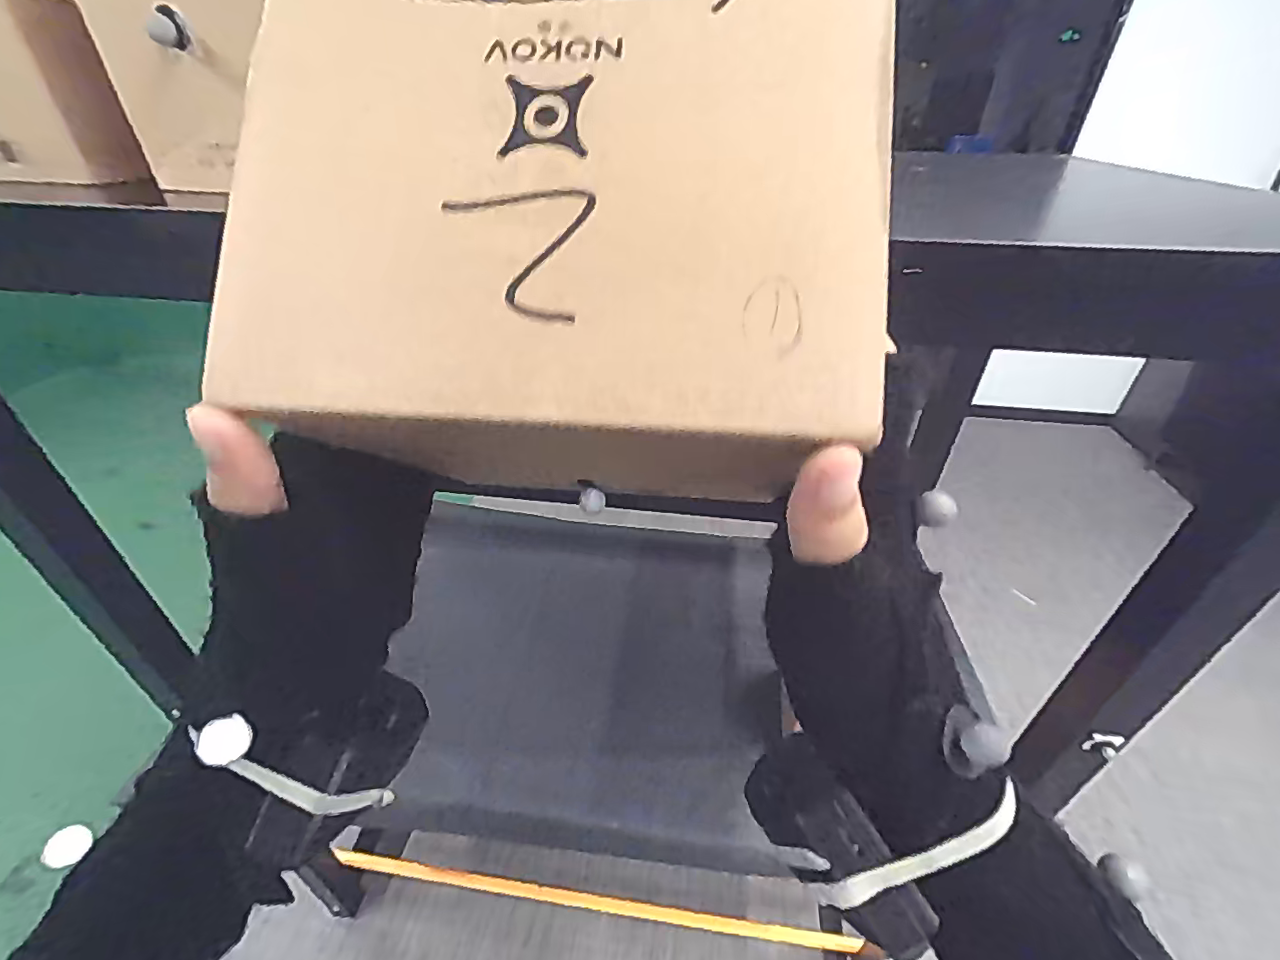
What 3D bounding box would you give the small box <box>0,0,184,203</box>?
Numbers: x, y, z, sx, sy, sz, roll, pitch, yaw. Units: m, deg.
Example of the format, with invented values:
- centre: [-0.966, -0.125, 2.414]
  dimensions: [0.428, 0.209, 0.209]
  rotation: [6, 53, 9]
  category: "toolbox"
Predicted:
- centre: [-0.475, -0.338, 0.444]
  dimensions: [0.168, 0.176, 0.179]
  rotation: [5, 36, 6]
  category: "small box"
